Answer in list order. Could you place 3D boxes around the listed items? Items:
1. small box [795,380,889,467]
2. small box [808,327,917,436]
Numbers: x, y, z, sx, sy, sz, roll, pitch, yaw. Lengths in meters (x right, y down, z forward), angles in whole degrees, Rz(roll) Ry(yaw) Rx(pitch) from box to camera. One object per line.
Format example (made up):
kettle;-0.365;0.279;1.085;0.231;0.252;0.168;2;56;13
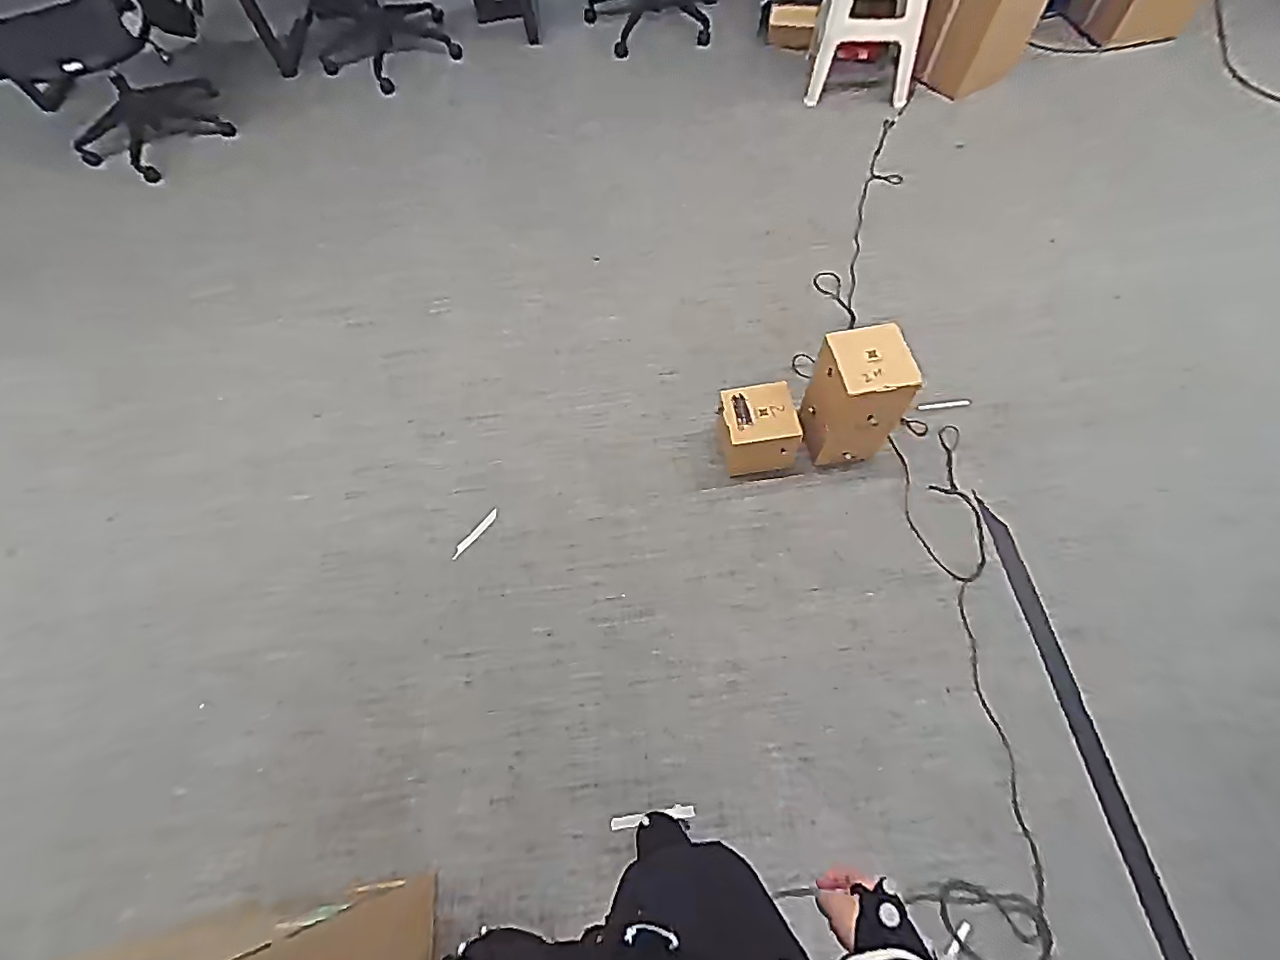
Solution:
small box;0.519;-0.154;1.417;0.168;0.176;0.179;-8;64;1
small box;0.509;-0.228;1.270;0.168;0.176;0.179;-10;64;0
